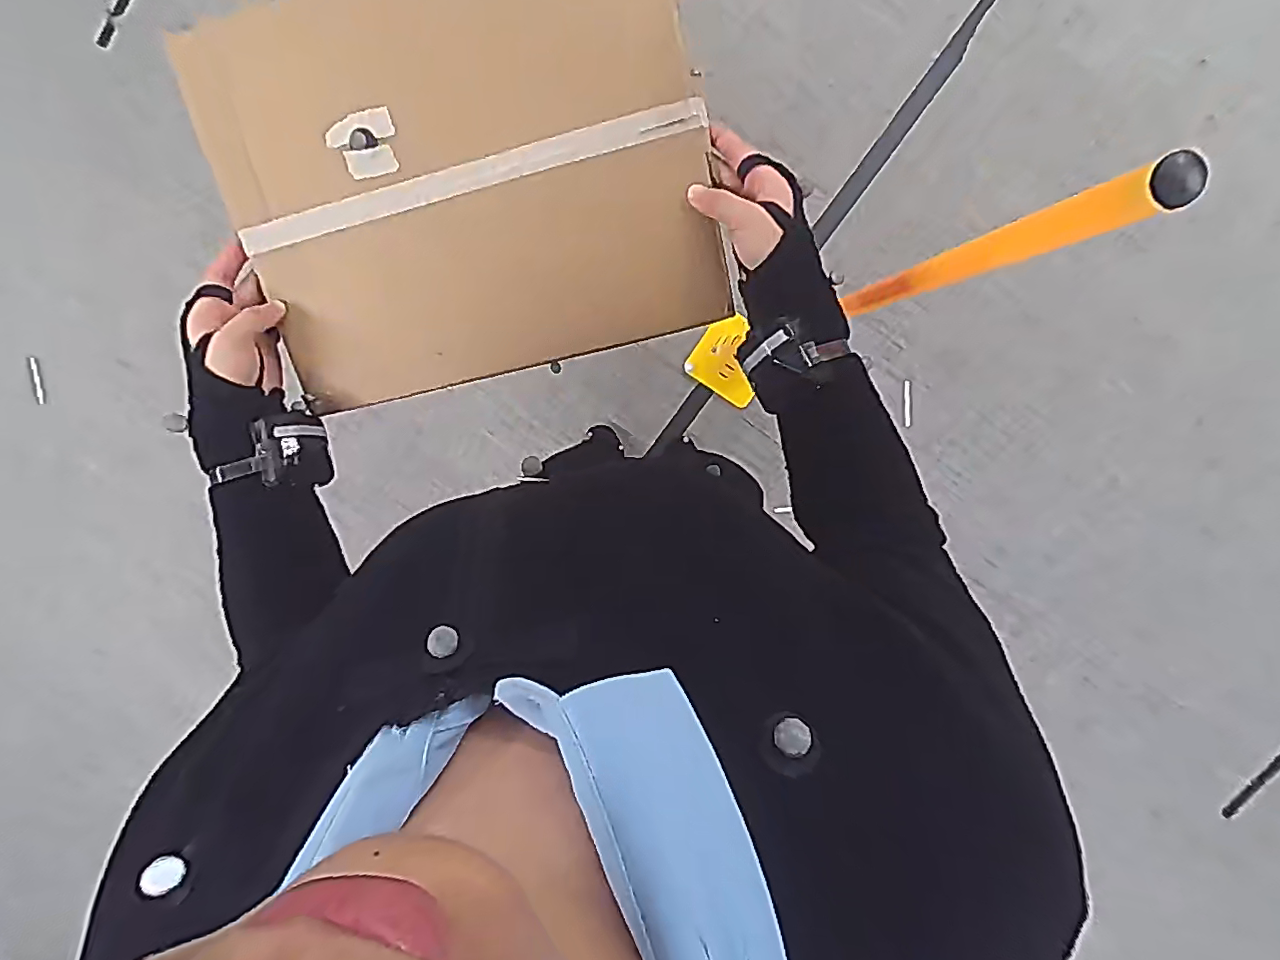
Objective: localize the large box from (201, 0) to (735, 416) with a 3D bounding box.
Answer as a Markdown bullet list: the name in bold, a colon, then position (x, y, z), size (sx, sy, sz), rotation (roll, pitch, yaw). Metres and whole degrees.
- **large box**: position (-0.133, -0.290, 0.610), size (0.408, 0.320, 0.320), rotation (-13, 104, 7)
